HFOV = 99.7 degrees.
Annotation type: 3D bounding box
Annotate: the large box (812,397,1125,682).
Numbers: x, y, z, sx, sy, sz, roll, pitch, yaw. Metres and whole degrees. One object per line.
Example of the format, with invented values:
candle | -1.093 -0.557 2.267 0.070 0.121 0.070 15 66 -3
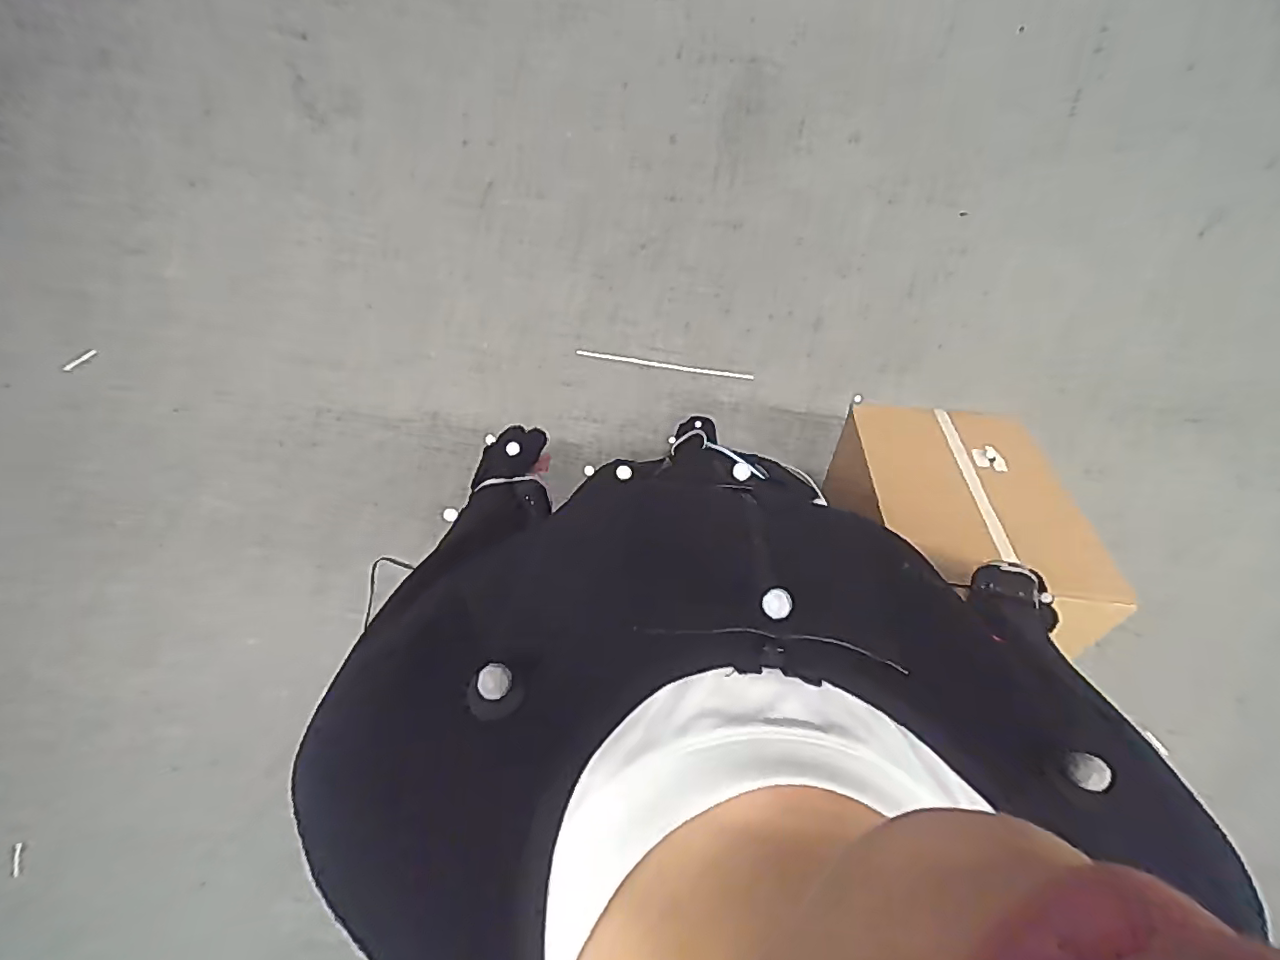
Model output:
large box | 0.520 0.101 0.976 0.320 0.408 0.320 6 135 3
